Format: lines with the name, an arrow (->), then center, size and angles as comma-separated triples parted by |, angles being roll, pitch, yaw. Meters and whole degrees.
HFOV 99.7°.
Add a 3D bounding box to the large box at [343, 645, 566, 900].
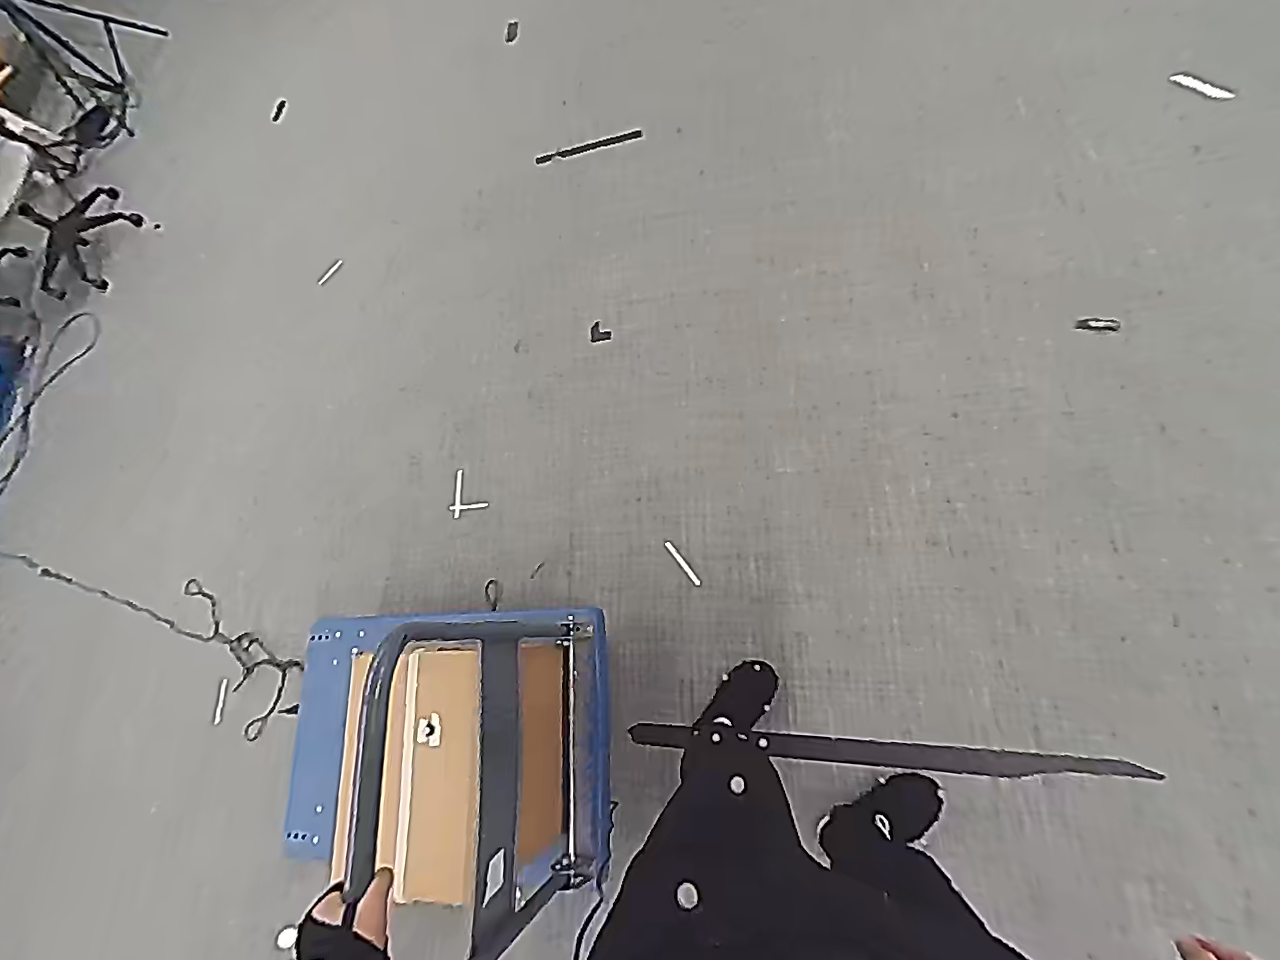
large box -> -0.360, 0.563, 1.124 | 0.320, 0.320, 0.408 | -7, 73, 16
